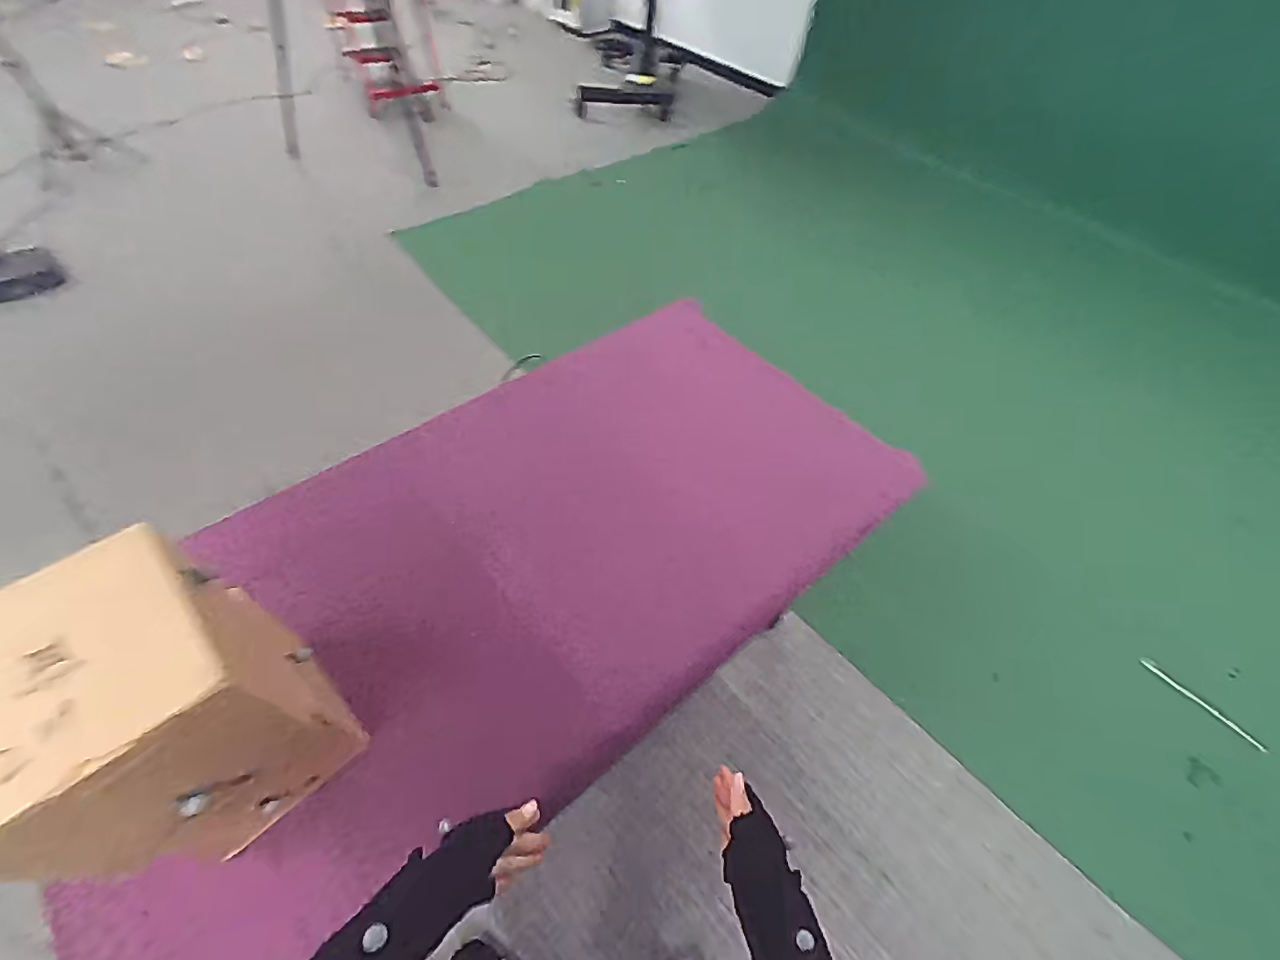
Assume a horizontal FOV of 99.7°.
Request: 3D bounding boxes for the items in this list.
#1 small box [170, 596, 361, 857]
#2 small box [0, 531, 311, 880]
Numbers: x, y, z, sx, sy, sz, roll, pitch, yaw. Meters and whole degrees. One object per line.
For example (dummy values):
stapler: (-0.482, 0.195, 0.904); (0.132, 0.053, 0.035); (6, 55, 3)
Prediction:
small box: (-0.435, 0.264, 0.571); (0.179, 0.176, 0.168); (40, 59, 21)
small box: (-0.407, 0.181, 0.430); (0.168, 0.176, 0.179); (-36, 65, -27)
